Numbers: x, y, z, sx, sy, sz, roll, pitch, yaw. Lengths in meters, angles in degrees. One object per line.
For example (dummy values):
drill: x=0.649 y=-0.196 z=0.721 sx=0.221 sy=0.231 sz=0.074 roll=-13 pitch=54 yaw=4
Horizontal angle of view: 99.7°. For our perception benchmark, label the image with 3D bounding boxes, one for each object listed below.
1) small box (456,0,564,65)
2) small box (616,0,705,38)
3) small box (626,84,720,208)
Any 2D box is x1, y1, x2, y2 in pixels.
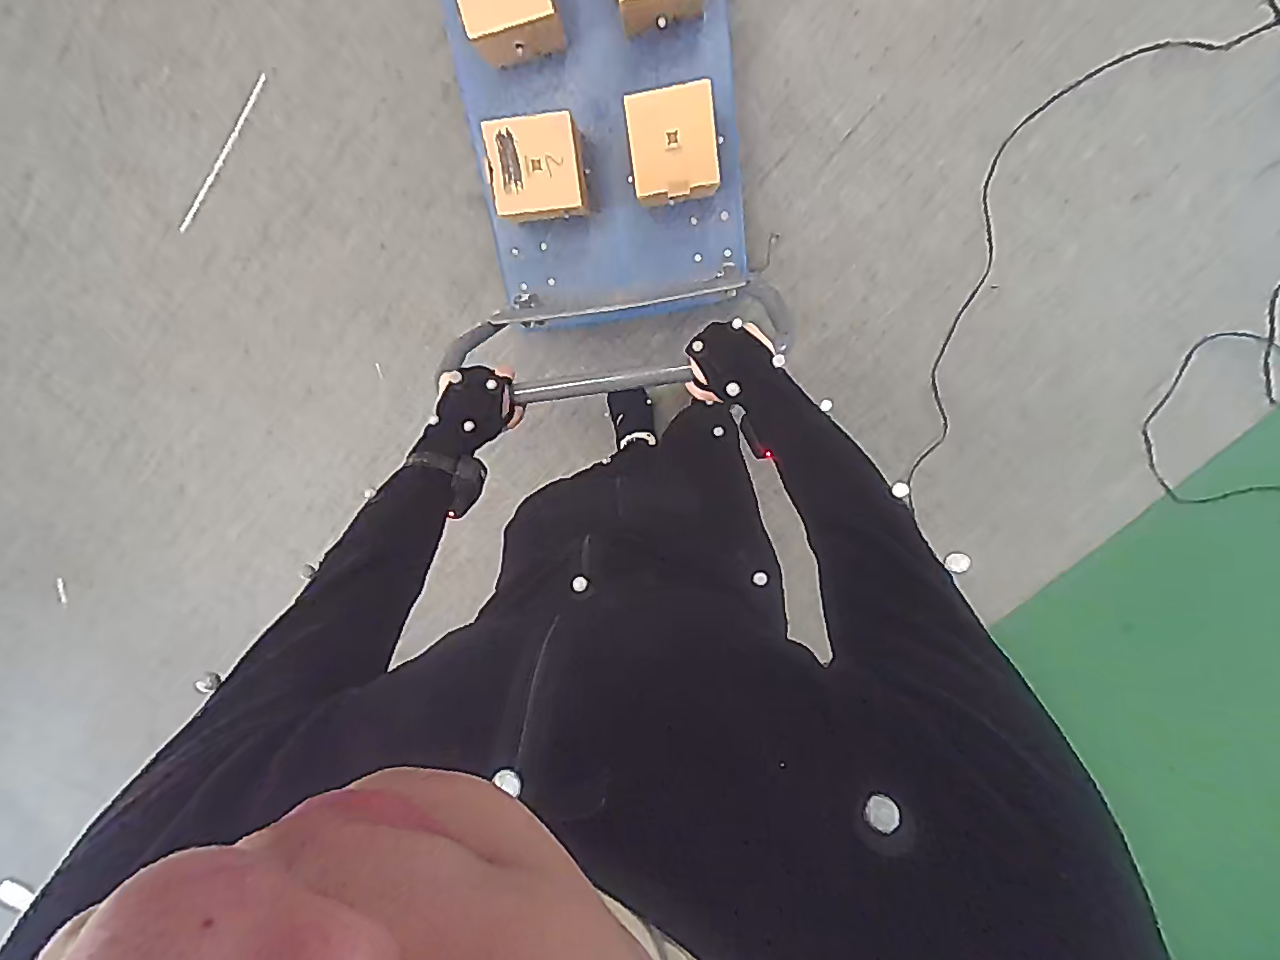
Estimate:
small box: x=-0.249 y=-0.914 z=1.012 sx=0.168 sy=0.176 sz=0.179 roll=-12 pitch=112 yaw=5
small box: x=0.025 y=-0.960 z=0.985 sx=0.168 sy=0.176 sz=0.179 roll=-12 pitch=112 yaw=7
small box: x=0.066 y=-0.670 z=1.105 sx=0.168 sy=0.176 sz=0.179 roll=-8 pitch=112 yaw=5
